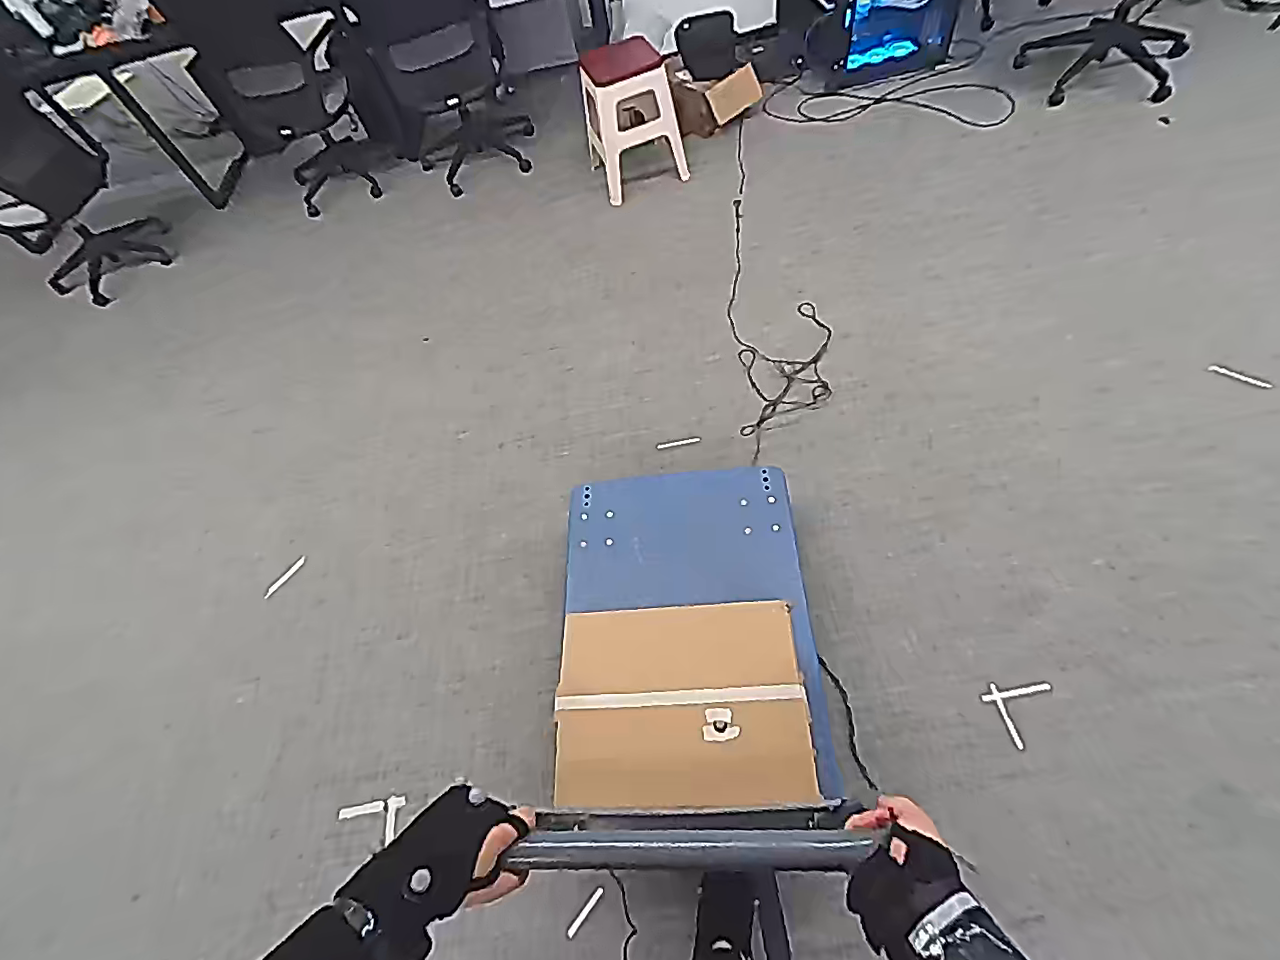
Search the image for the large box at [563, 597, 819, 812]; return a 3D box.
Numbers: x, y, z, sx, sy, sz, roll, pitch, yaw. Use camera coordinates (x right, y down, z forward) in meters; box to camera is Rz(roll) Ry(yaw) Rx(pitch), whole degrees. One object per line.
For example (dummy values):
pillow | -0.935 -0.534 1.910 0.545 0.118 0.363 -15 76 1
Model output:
large box | 0.089 0.439 1.027 0.408 0.320 0.320 -6 58 6
